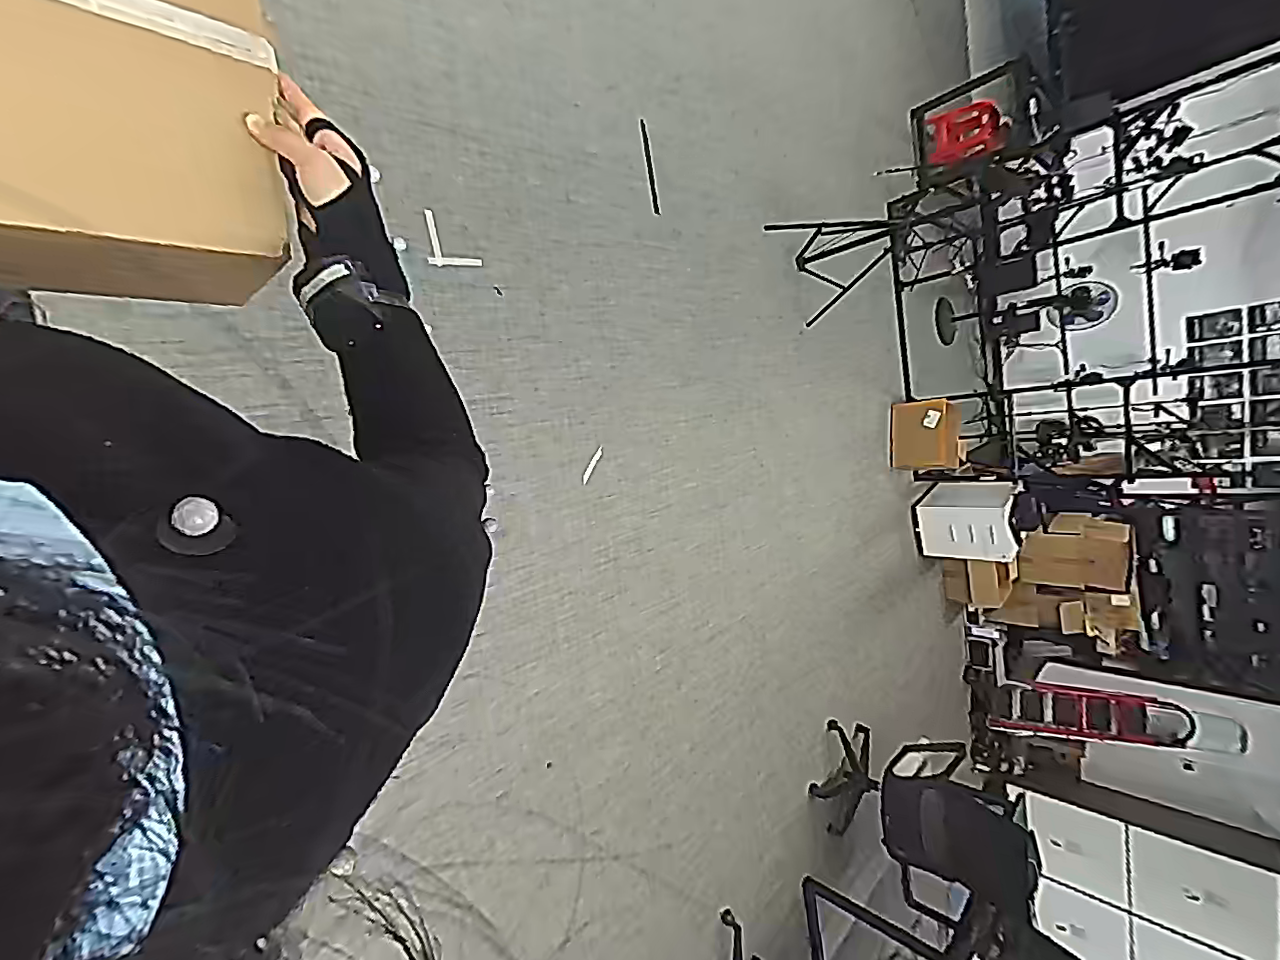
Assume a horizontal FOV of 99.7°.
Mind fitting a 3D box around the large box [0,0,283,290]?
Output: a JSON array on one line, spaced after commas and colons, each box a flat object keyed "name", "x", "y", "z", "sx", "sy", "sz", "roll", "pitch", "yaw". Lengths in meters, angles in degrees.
[{"name": "large box", "x": -0.562, "y": -0.342, "z": 0.426, "sx": 0.408, "sy": 0.320, "sz": 0.320, "roll": -9, "pitch": 103, "yaw": -42}]
